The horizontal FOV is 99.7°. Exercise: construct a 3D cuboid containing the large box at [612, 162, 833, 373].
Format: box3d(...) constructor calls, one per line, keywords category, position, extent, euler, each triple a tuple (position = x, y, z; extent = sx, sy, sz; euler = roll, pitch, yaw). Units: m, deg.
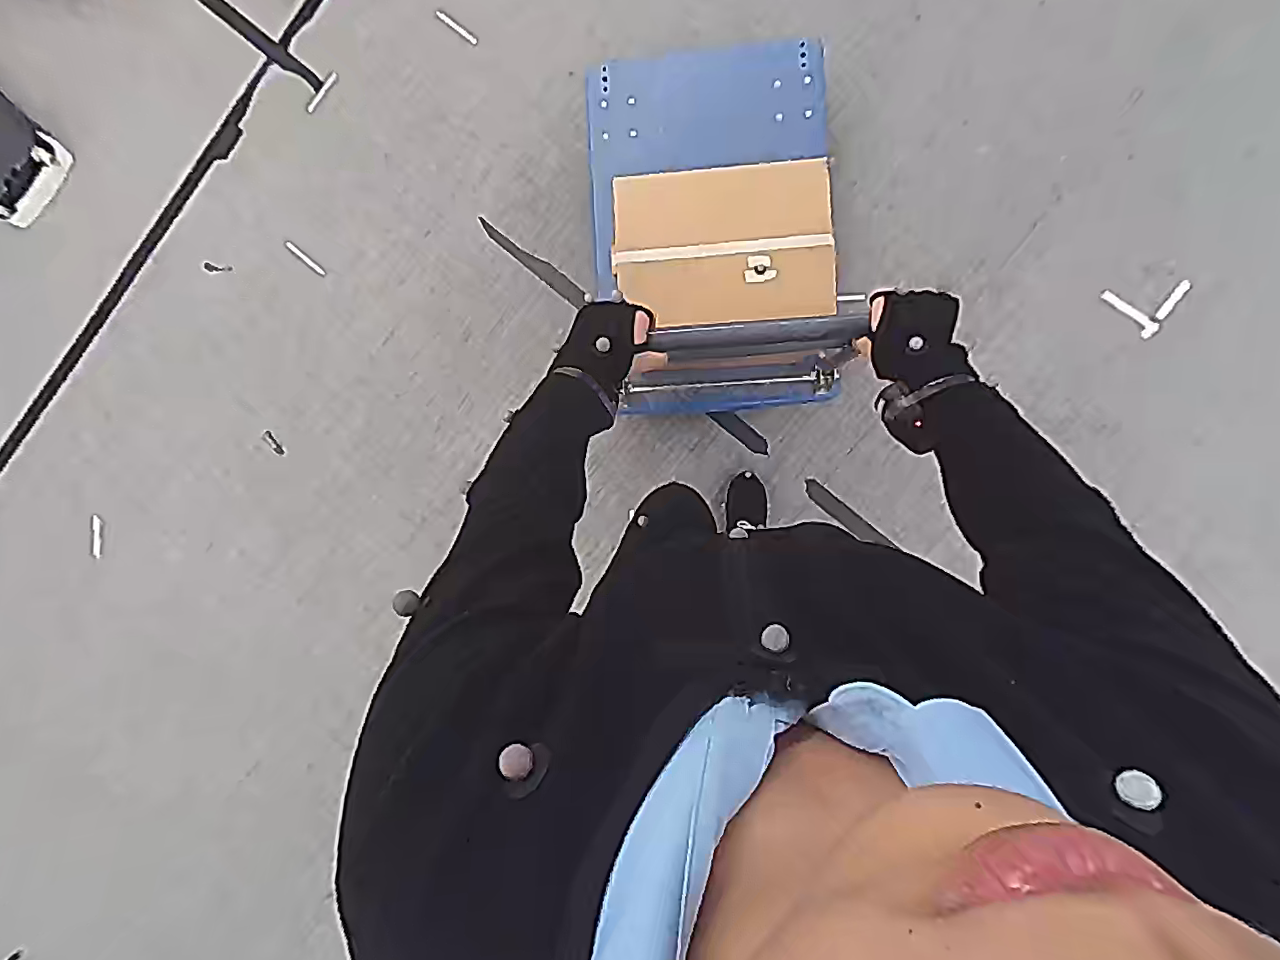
box3d(category="large box", position=(0.162, -0.427, 1.166), extent=(0.408, 0.320, 0.320), euler=(-3, 90, 4))
